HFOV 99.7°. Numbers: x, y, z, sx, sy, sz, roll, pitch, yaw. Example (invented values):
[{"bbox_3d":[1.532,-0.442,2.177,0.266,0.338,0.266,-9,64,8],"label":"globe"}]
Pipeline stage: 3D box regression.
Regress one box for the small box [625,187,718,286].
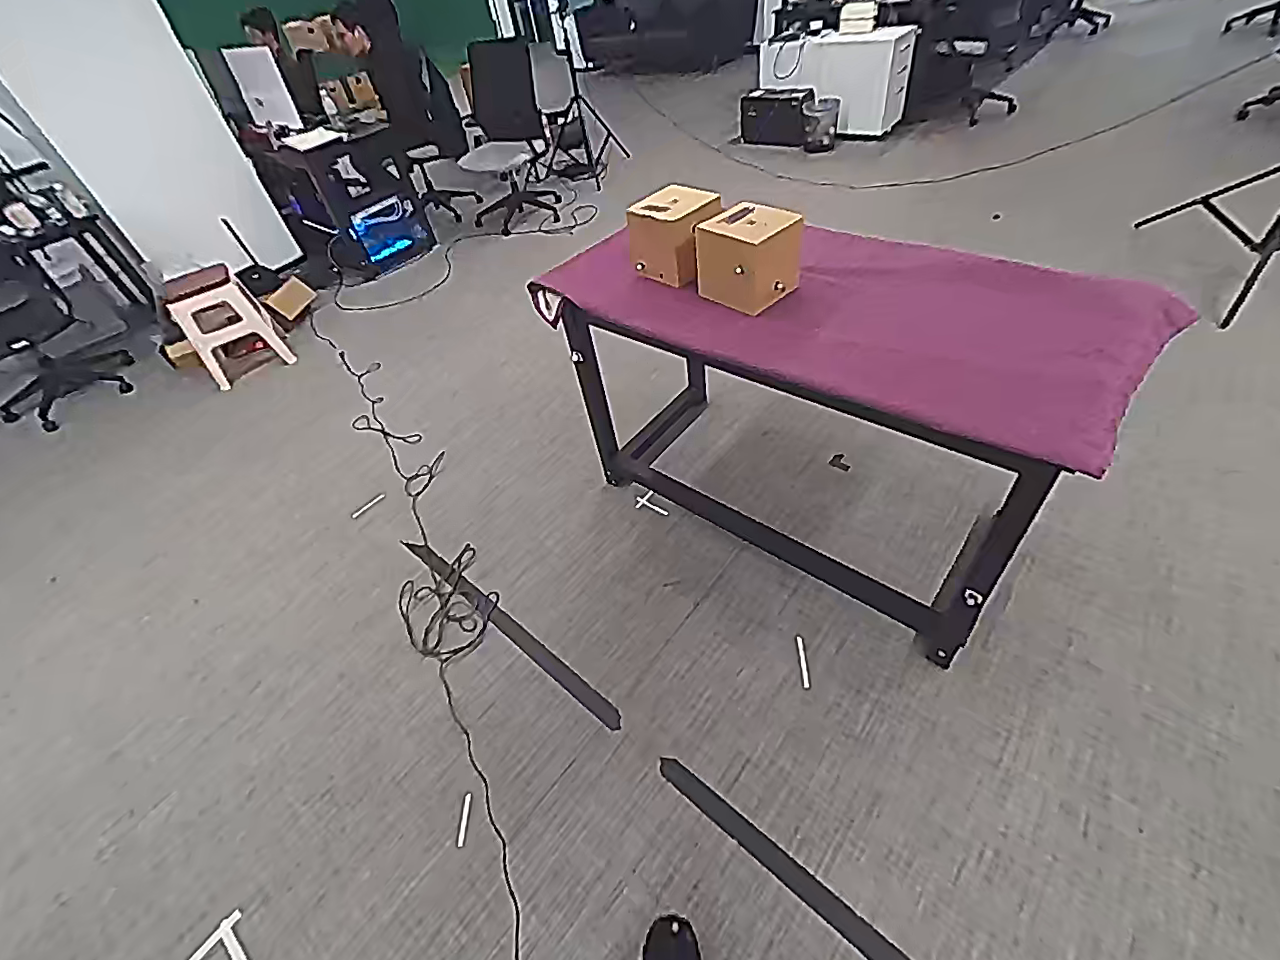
[{"bbox_3d":[0.088,-0.625,1.390,0.179,0.176,0.168,-39,52,-24],"label":"small box"}]
